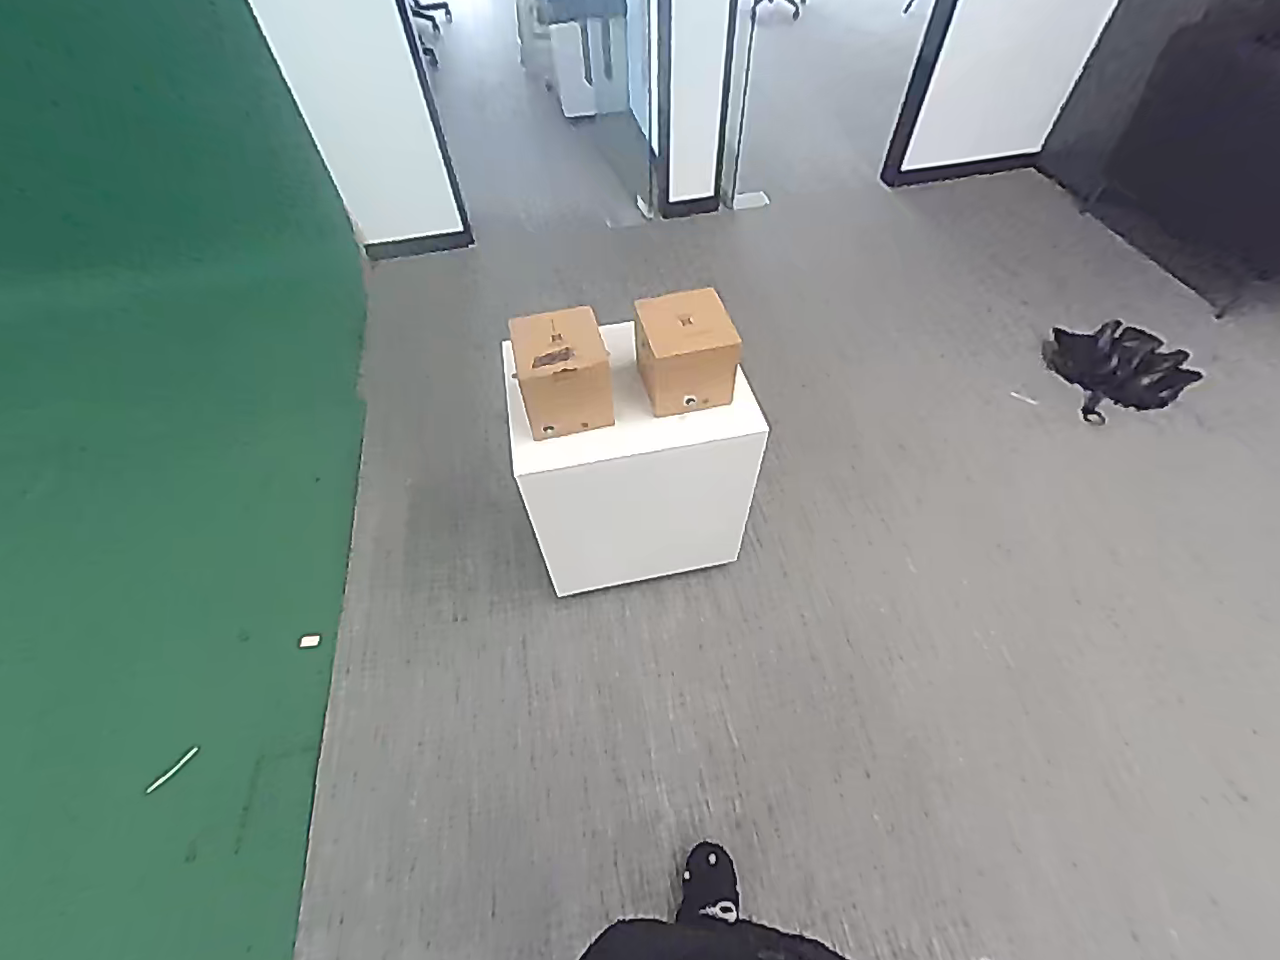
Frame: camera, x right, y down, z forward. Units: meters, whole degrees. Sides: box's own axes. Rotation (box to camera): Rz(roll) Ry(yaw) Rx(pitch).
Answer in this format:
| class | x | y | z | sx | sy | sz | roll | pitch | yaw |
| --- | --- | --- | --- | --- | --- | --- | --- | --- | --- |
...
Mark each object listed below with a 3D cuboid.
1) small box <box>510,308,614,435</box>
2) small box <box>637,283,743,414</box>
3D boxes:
| class | x | y | z | sx | sy | sz | roll | pitch | yaw |
| --- | --- | --- | --- | --- | --- | --- | --- | --- | --- |
| small box | -0.150 | -0.205 | 1.065 | 0.168 | 0.176 | 0.179 | -12 | 54 | -7 |
| small box | 0.091 | -0.260 | 1.077 | 0.168 | 0.176 | 0.179 | -13 | 56 | -6 |
